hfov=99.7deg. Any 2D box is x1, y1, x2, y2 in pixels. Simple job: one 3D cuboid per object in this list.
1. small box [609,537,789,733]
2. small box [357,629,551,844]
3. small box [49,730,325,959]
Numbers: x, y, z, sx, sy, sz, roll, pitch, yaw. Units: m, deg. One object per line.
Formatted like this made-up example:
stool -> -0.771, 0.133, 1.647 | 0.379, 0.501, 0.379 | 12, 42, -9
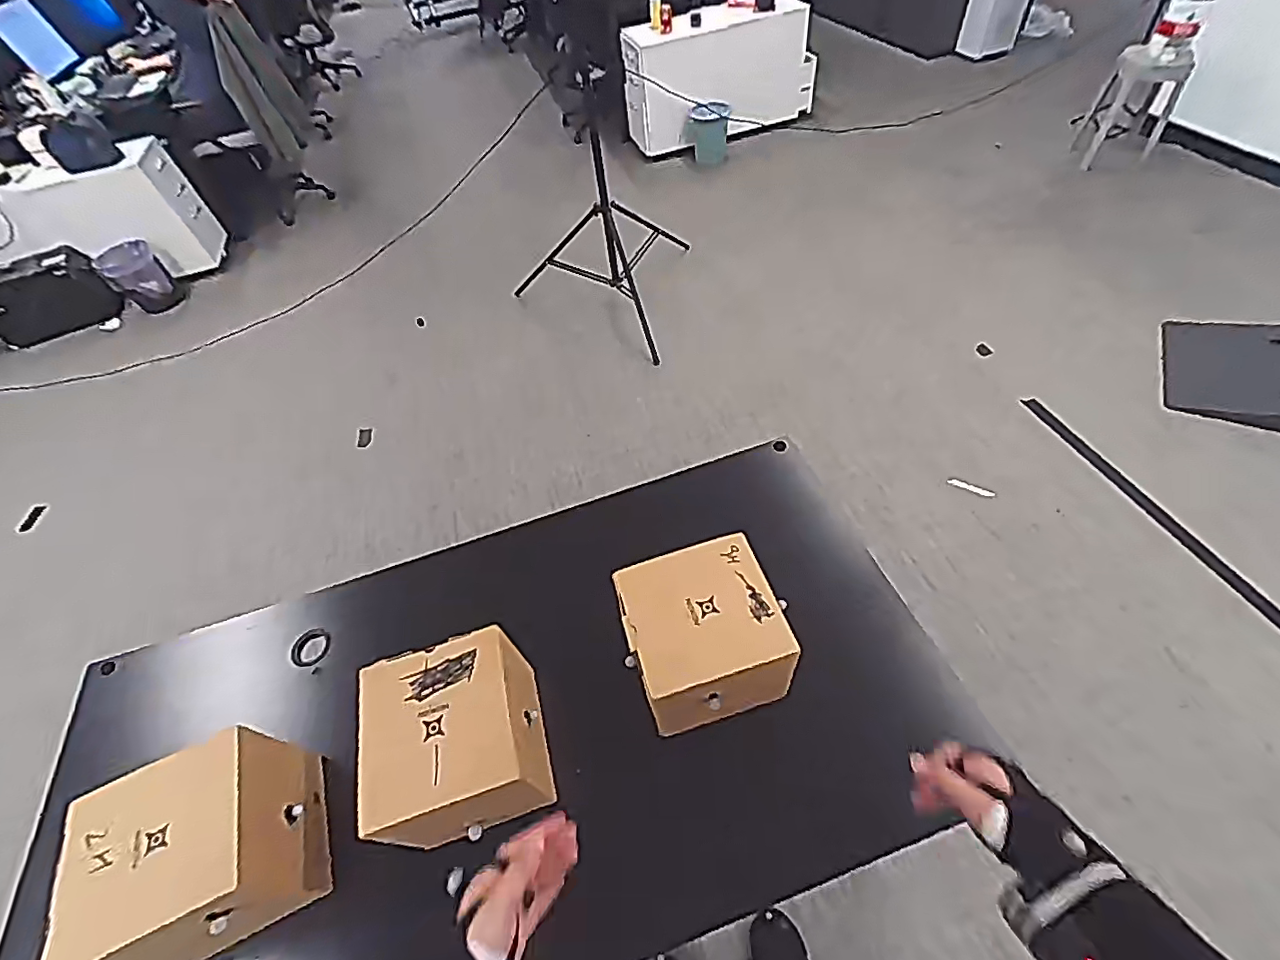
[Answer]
small box -> 0.074, 0.205, 0.699 | 0.179, 0.176, 0.168 | -17, 52, -4
small box -> -0.218, 0.313, 0.656 | 0.168, 0.176, 0.179 | -18, 53, -5
small box -> -0.485, 0.417, 0.612 | 0.179, 0.176, 0.168 | -24, 53, -10
